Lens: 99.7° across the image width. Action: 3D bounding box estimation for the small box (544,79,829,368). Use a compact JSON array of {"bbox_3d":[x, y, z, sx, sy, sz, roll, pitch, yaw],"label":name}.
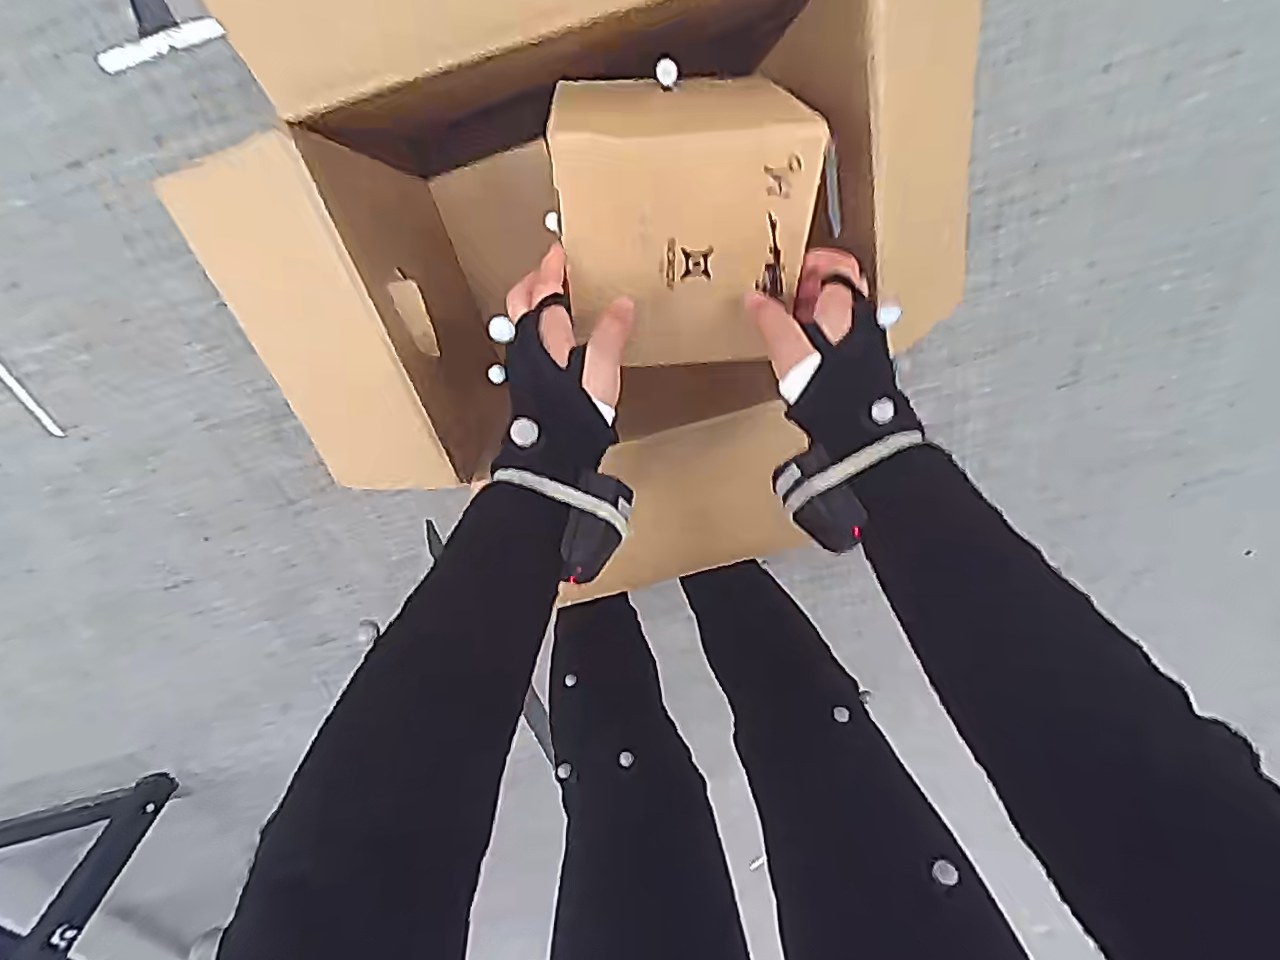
[{"bbox_3d":[0.022,-0.207,0.437,0.179,0.176,0.168,-2,136,-4],"label":"small box"}]
